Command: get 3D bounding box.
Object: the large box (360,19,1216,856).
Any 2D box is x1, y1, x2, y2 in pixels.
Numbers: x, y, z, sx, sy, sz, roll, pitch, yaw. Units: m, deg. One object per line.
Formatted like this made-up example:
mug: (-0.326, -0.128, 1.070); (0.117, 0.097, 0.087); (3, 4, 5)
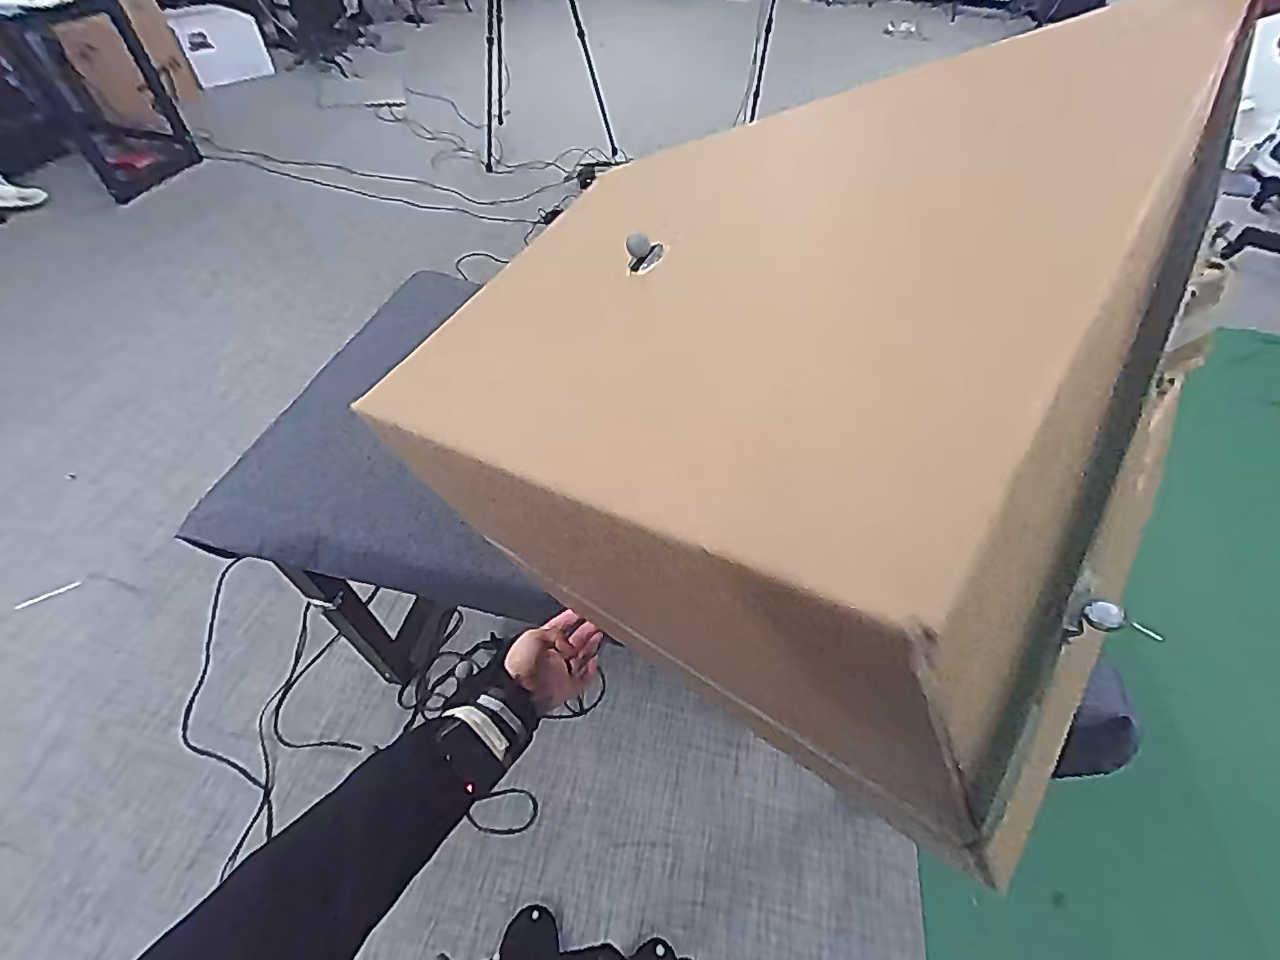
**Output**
large box: (0.081, -0.021, 0.398); (0.408, 0.320, 0.320); (16, 61, 44)
